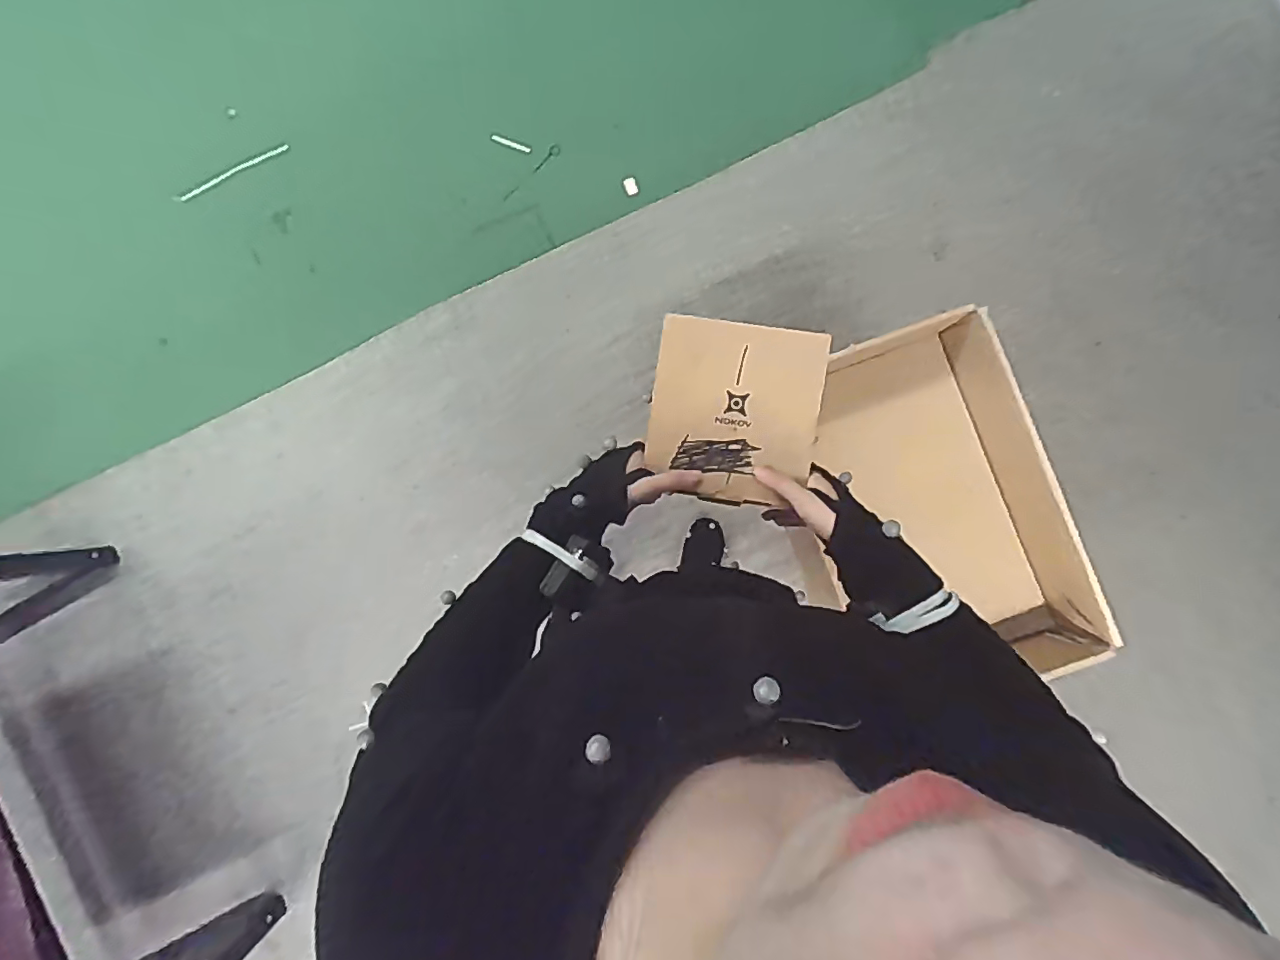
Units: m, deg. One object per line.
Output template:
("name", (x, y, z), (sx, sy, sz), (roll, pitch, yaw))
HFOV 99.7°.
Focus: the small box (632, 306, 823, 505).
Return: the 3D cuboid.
("small box", (0.089, -0.078, 0.611), (0.168, 0.176, 0.179), (9, 93, 2))
